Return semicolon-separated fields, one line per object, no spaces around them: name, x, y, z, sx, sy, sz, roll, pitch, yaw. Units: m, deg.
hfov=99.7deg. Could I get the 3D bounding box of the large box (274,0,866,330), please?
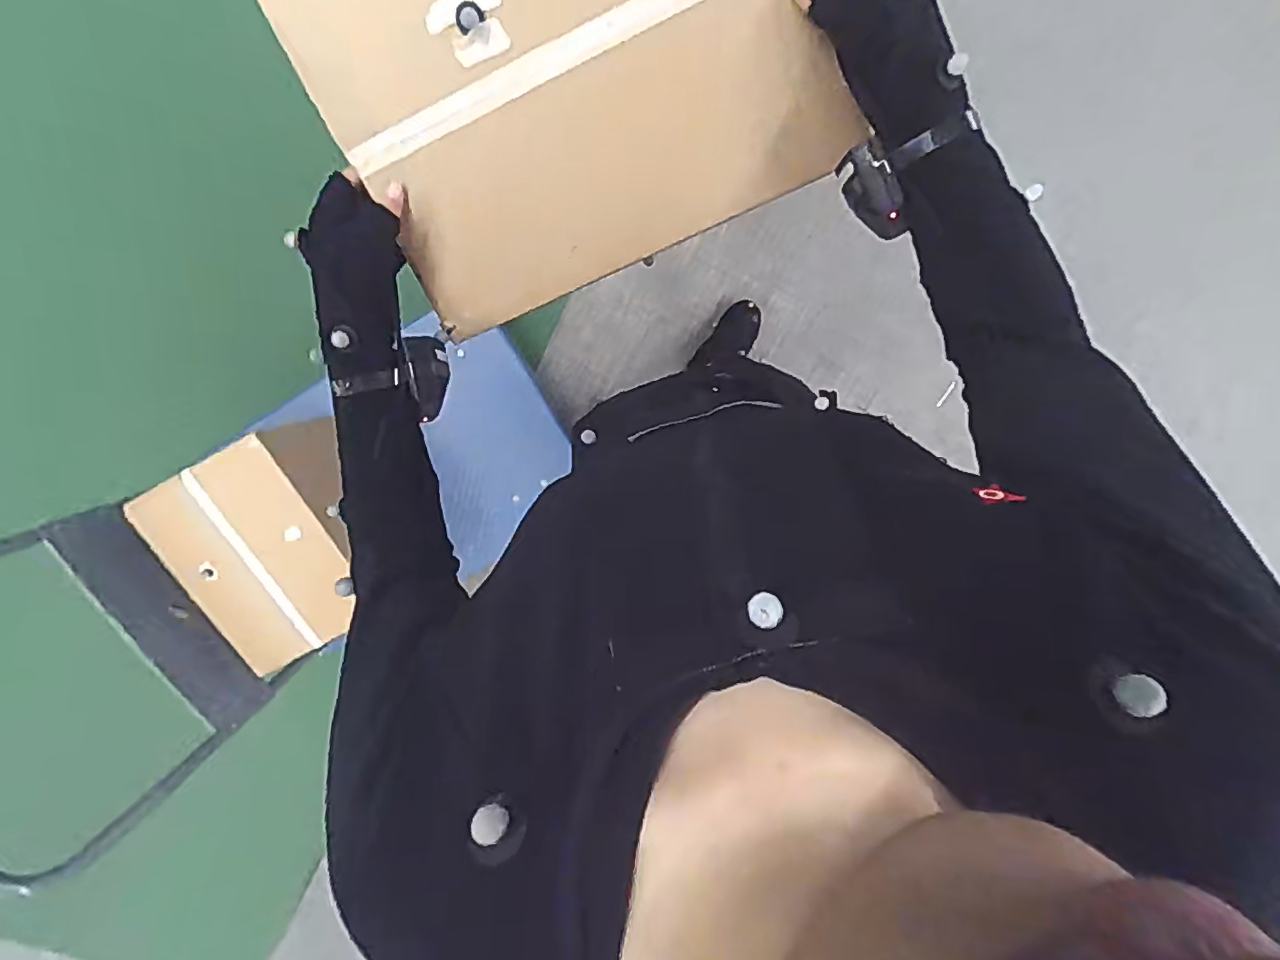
large box;-0.052;-0.401;0.554;0.408;0.320;0.320;-21;113;7
